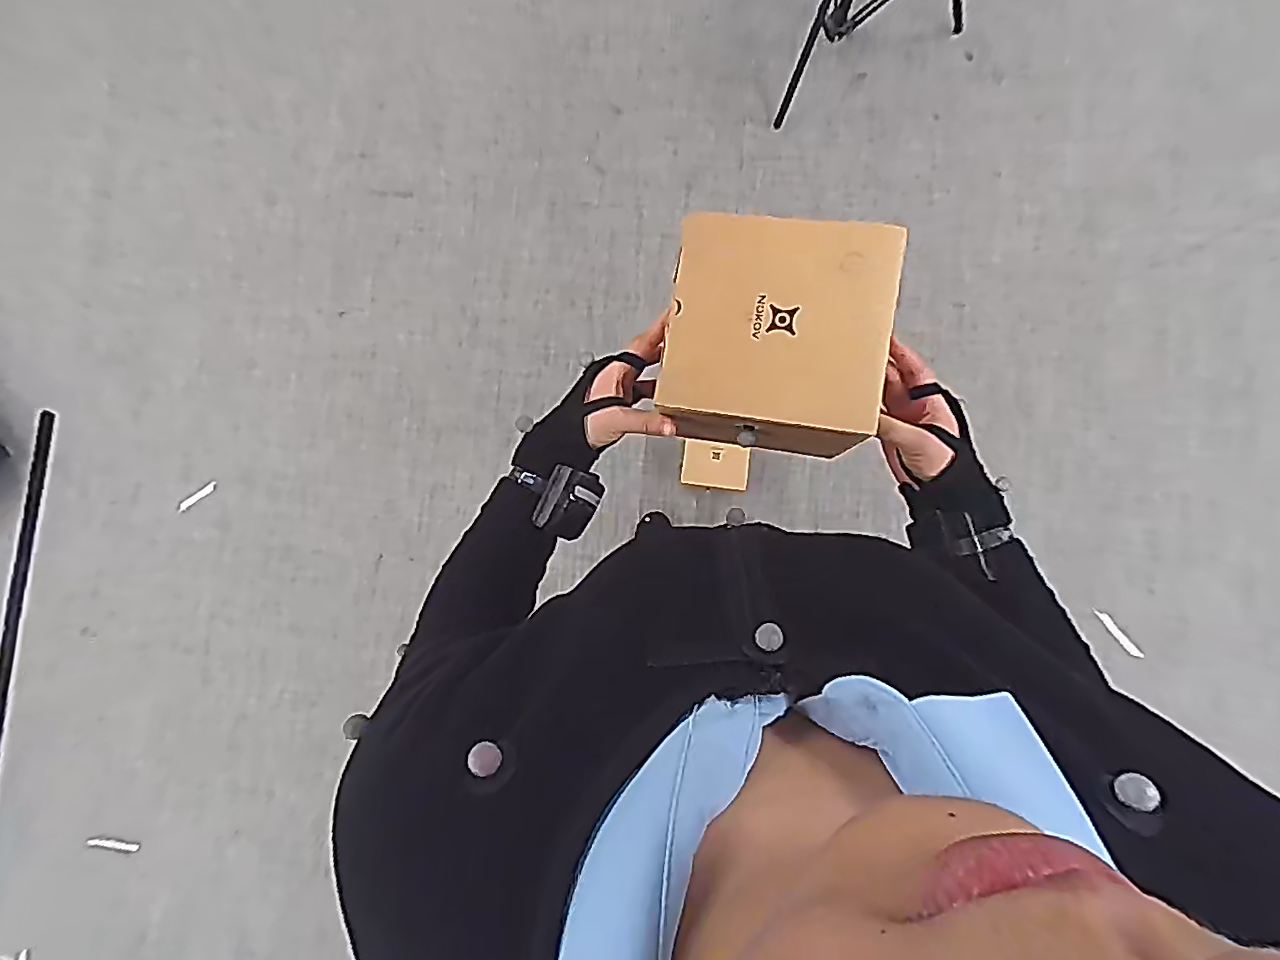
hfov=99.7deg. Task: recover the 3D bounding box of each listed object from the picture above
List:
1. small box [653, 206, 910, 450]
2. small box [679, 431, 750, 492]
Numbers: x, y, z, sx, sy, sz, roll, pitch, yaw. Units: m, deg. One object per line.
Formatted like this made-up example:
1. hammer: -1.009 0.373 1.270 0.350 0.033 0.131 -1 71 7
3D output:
1. small box: 0.122 -0.125 0.501 0.179 0.176 0.168 9 88 11
2. small box: 0.198 -0.064 1.437 0.168 0.176 0.179 8 86 4
